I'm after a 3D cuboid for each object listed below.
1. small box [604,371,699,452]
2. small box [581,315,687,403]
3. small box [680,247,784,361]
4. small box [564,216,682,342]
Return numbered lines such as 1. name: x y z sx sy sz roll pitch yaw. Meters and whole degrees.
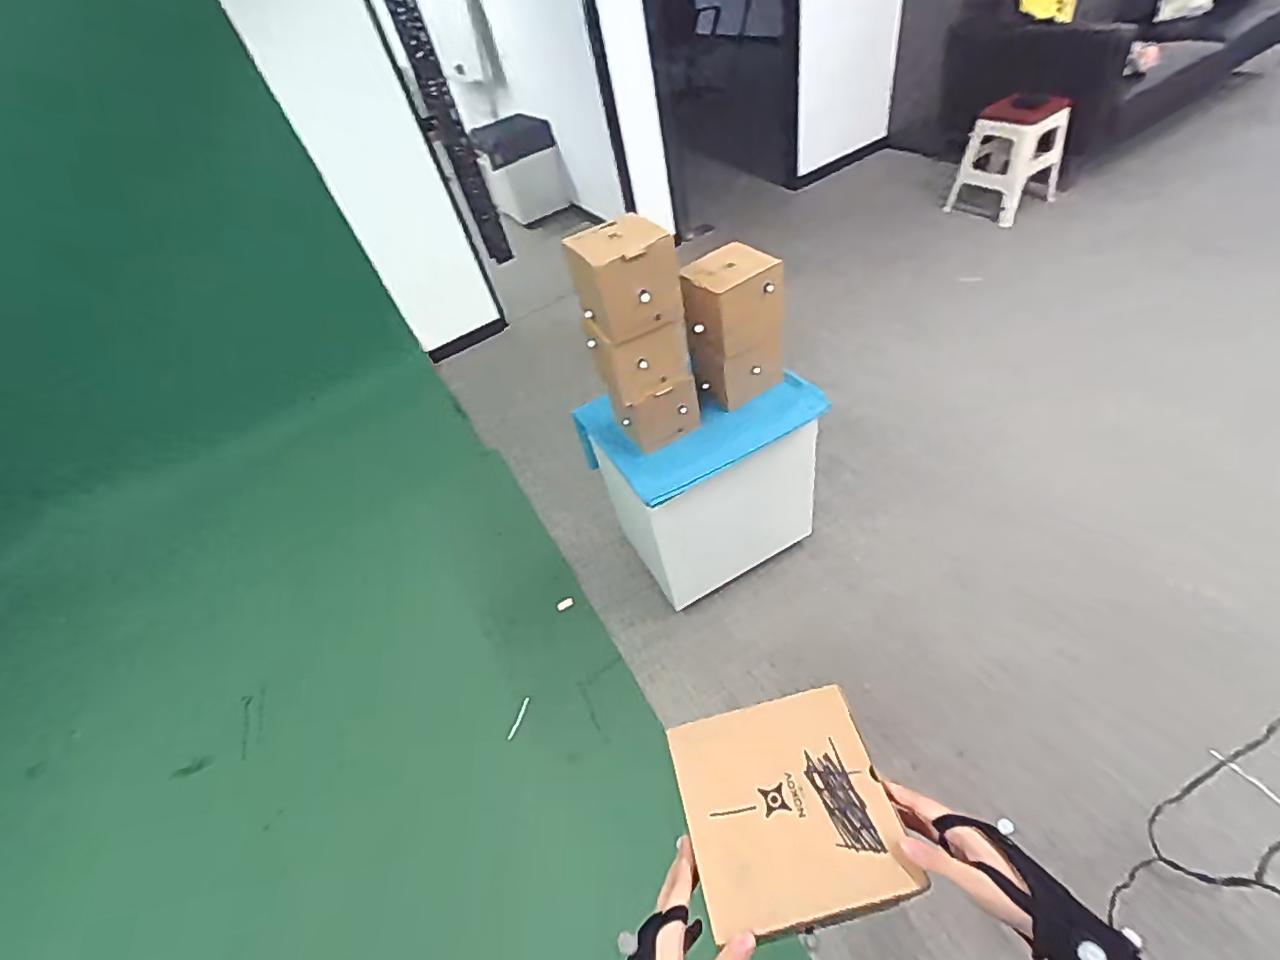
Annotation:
1. small box: 0.032 -0.190 1.337 0.168 0.176 0.179 -27 46 -12
2. small box: -0.009 -0.295 1.220 0.168 0.176 0.179 -26 45 -11
3. small box: 0.216 -0.410 1.262 0.179 0.176 0.168 -31 47 -13
4. small box: -0.030 -0.403 1.098 0.168 0.176 0.179 -26 46 -11
